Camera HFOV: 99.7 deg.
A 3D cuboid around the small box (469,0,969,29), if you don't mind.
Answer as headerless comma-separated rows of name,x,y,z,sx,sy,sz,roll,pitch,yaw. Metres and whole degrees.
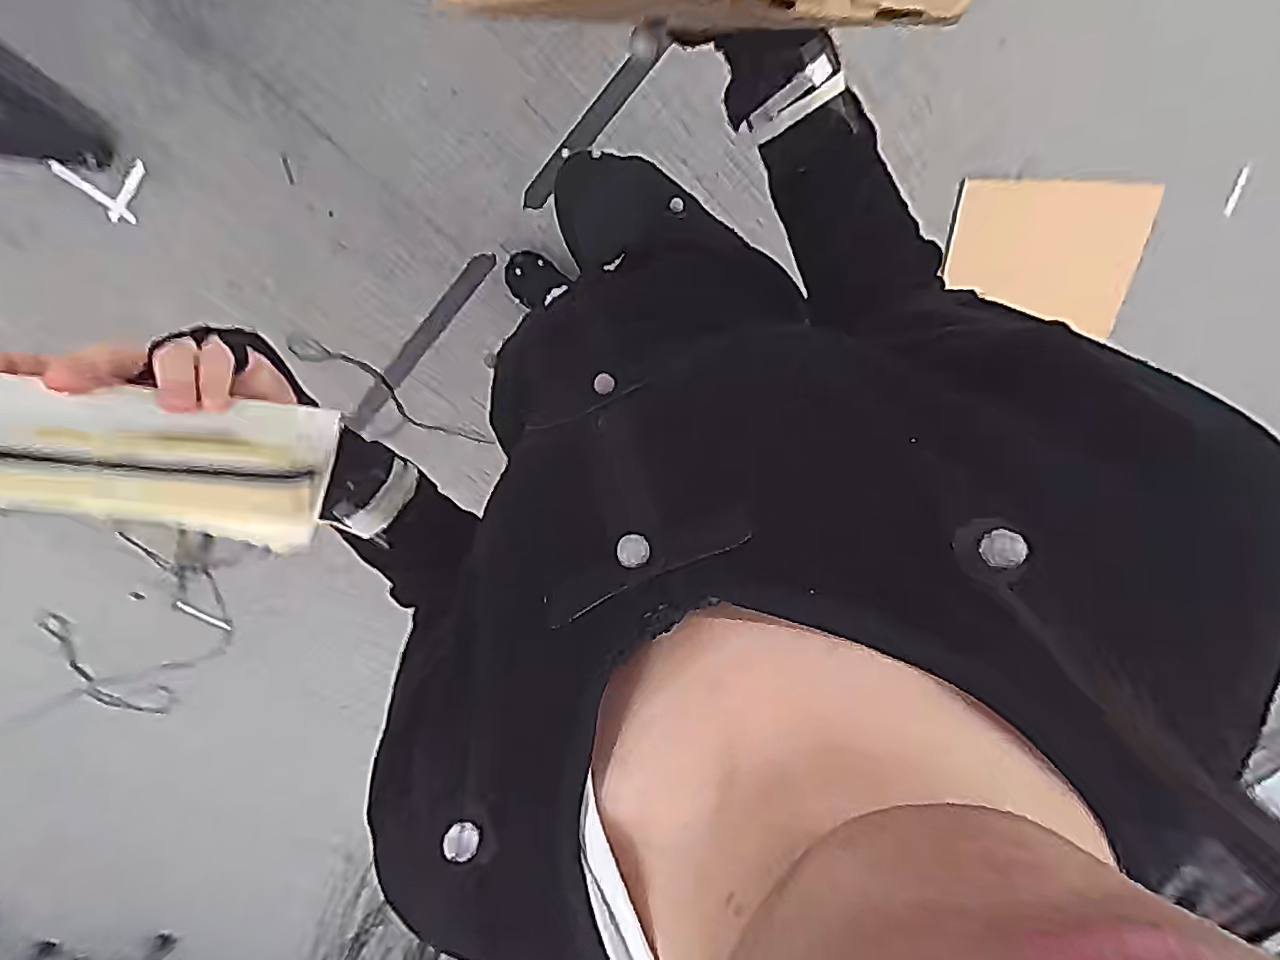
small box,0.023,-0.272,0.181,0.168,0.176,0.179,-23,134,-29
